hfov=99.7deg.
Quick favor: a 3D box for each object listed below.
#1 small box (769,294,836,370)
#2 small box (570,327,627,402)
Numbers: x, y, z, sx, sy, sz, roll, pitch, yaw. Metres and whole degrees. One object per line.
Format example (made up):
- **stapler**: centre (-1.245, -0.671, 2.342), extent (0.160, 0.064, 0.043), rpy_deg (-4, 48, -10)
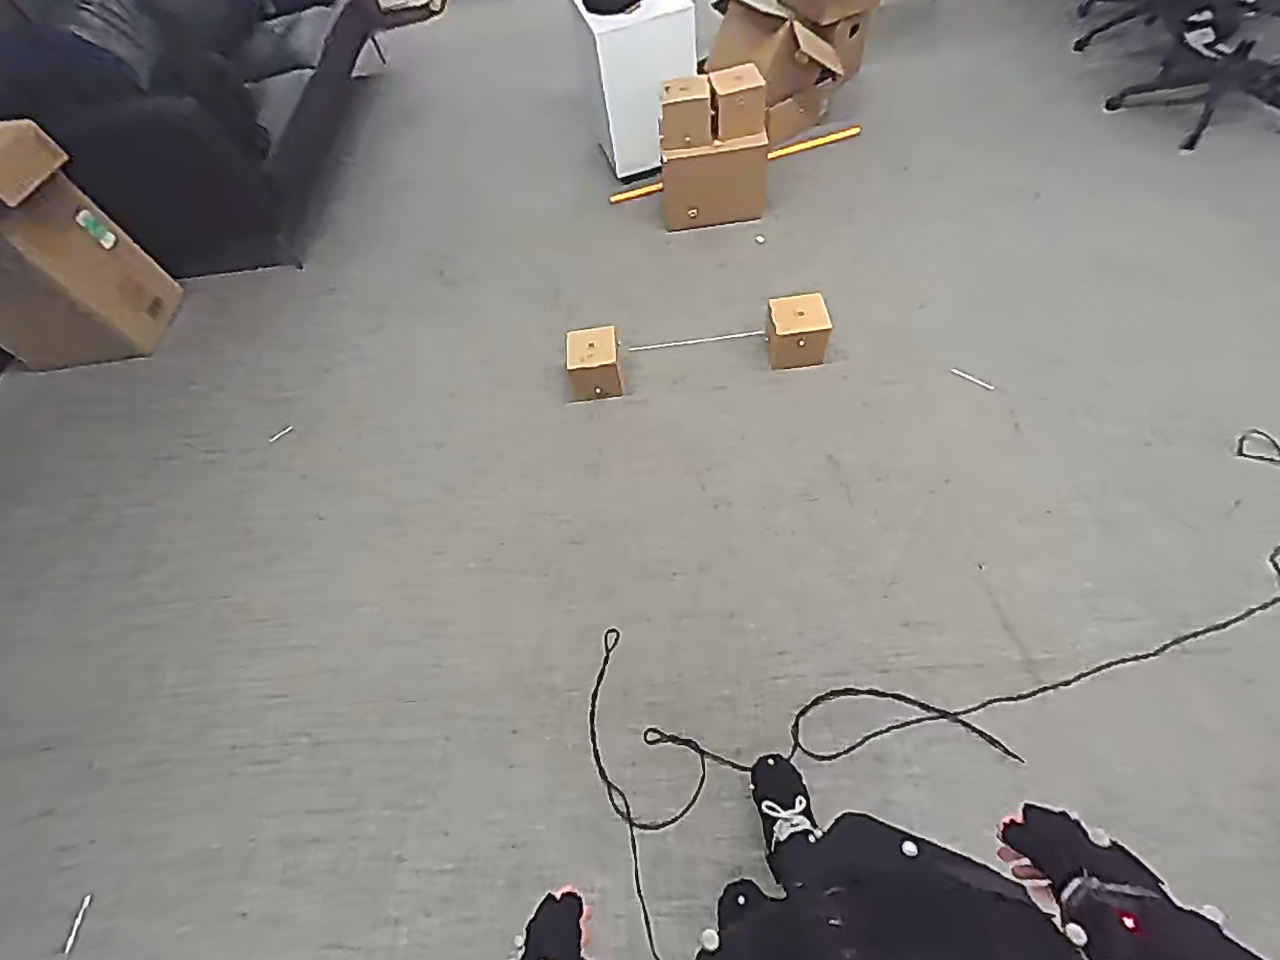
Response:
- **small box**: centre (0.536, -0.490, 1.805), extent (0.179, 0.176, 0.168), rpy_deg (-7, 59, 5)
- **small box**: centre (-0.141, -0.393, 1.853), extent (0.168, 0.176, 0.179), rpy_deg (-7, 59, 5)
